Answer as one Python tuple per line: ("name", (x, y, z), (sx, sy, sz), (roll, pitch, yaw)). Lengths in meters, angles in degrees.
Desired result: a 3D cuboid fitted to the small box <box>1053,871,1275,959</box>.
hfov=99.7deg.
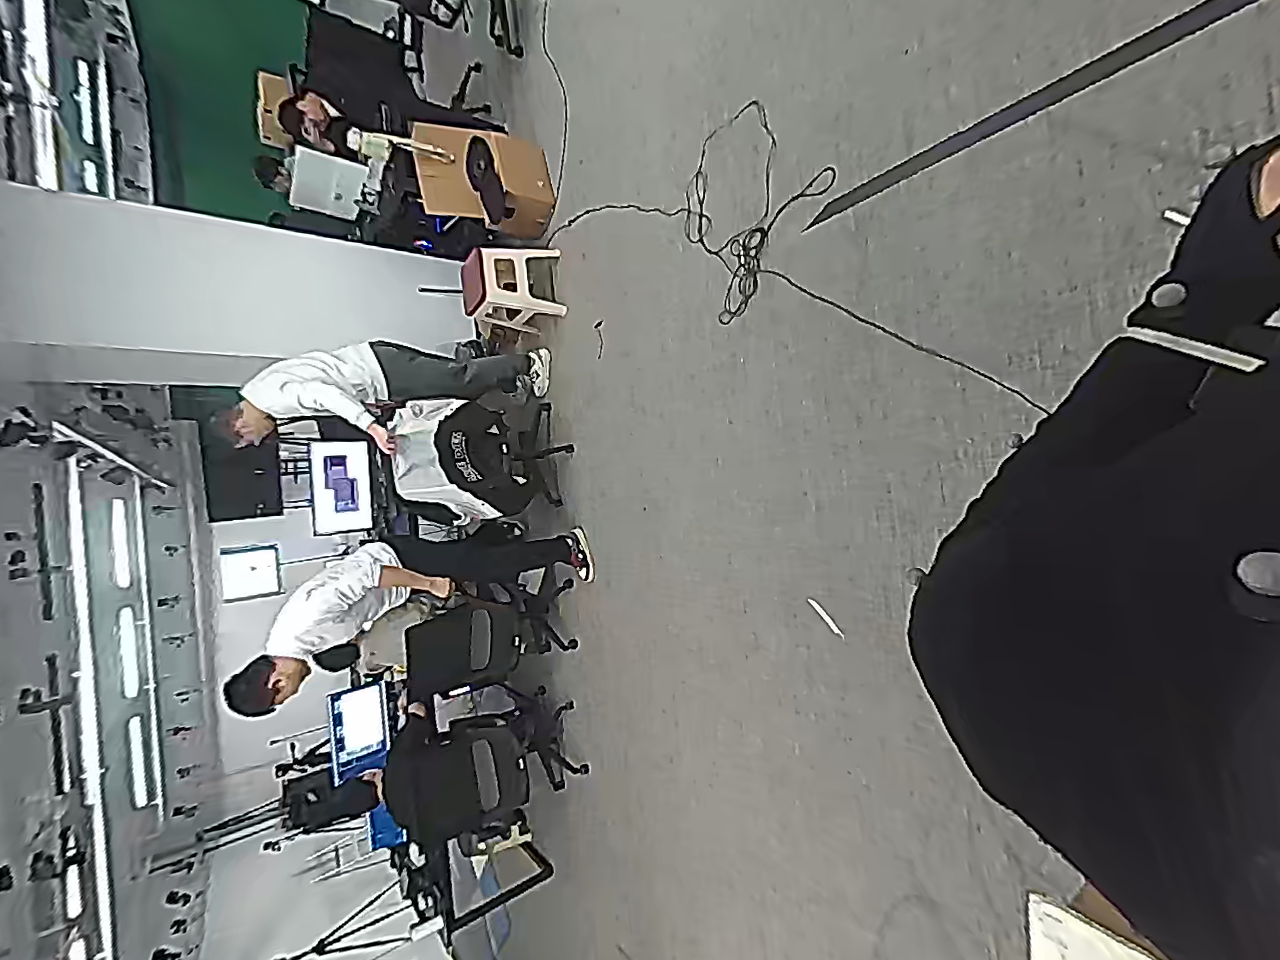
("small box", (0.629, 0.627, 0.644), (0.168, 0.176, 0.179), (-5, 89, 57))
